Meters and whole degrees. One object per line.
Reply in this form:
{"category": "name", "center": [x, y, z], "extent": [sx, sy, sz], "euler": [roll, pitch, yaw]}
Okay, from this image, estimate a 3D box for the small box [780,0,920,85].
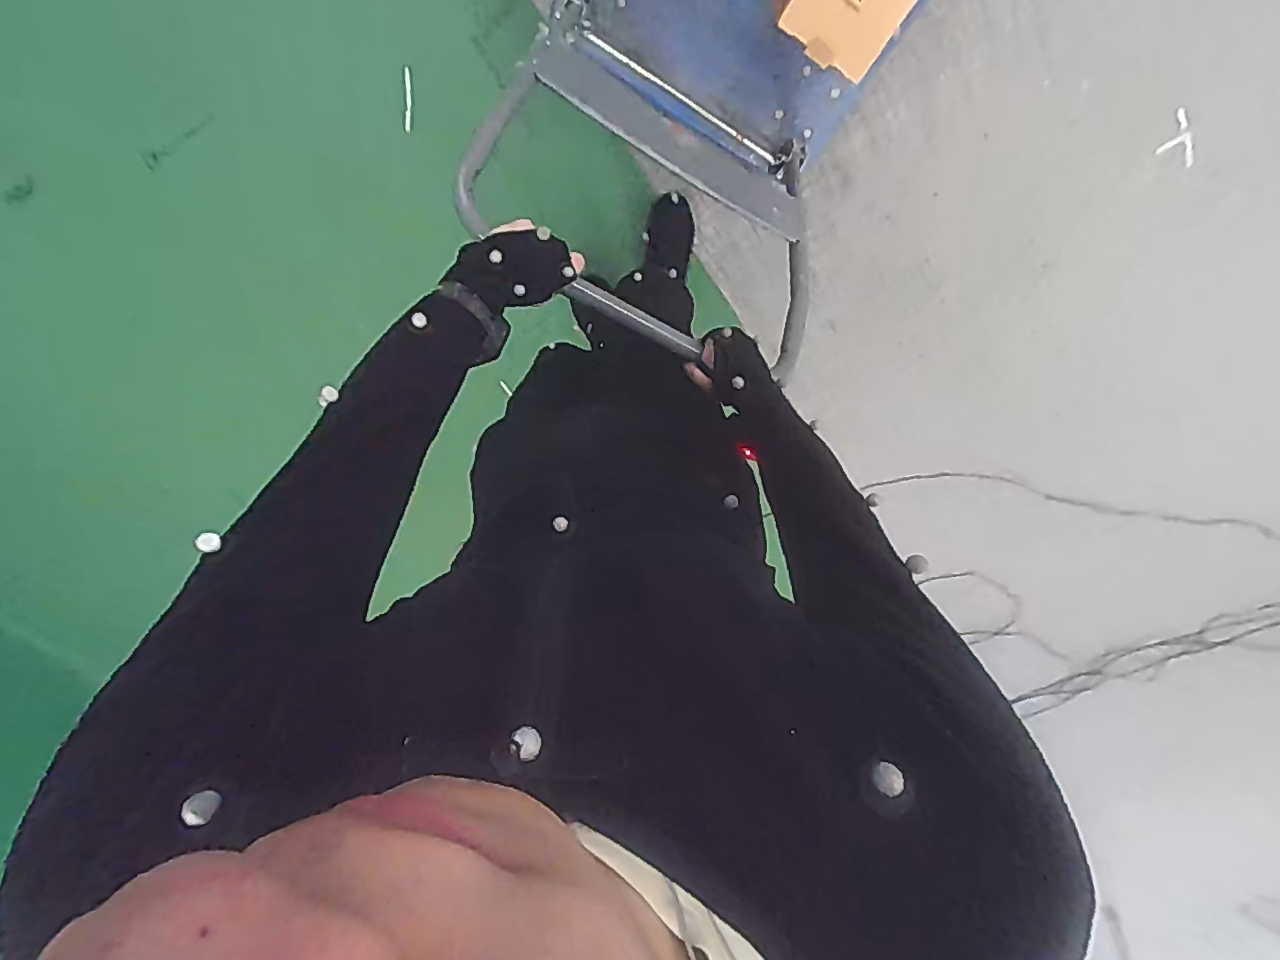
{"category": "small box", "center": [0.334, -0.782, 0.850], "extent": [0.168, 0.176, 0.179], "euler": [24, 140, -17]}
